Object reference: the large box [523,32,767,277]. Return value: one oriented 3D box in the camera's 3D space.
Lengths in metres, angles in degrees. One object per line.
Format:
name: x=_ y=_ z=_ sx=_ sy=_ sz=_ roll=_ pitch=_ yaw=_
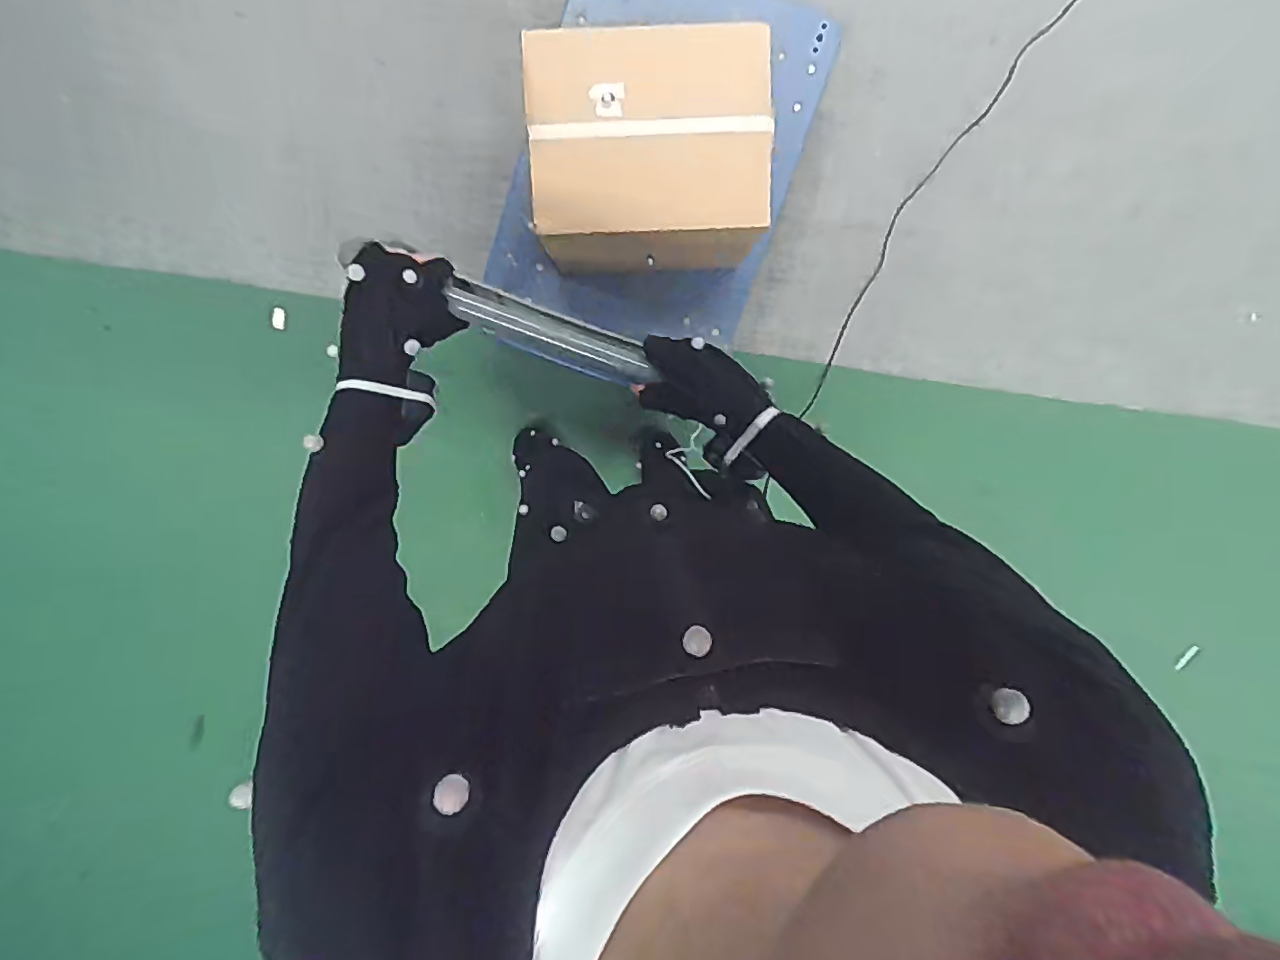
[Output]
large box: x=0.016 y=-0.594 z=1.054 sx=0.408 sy=0.320 sz=0.320 roll=-2 pitch=98 yaw=1
